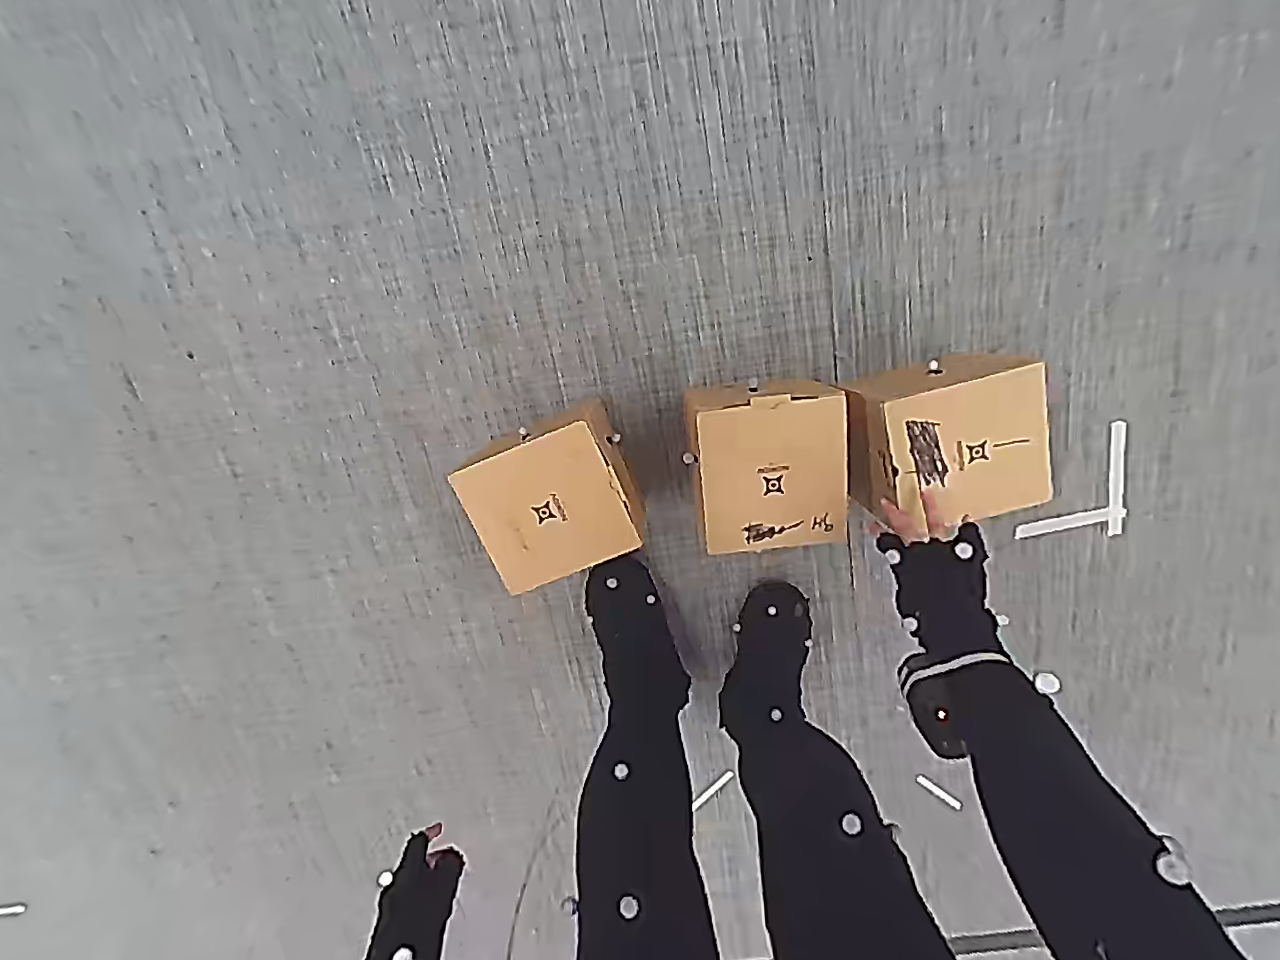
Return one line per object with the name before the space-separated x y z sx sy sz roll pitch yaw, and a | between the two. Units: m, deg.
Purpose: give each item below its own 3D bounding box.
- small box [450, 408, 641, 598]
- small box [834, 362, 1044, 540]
small box | -0.108 0.018 0.700 0.179 0.176 0.168 -22 104 7
small box | 0.360 -0.045 0.681 0.179 0.176 0.168 -14 106 3
